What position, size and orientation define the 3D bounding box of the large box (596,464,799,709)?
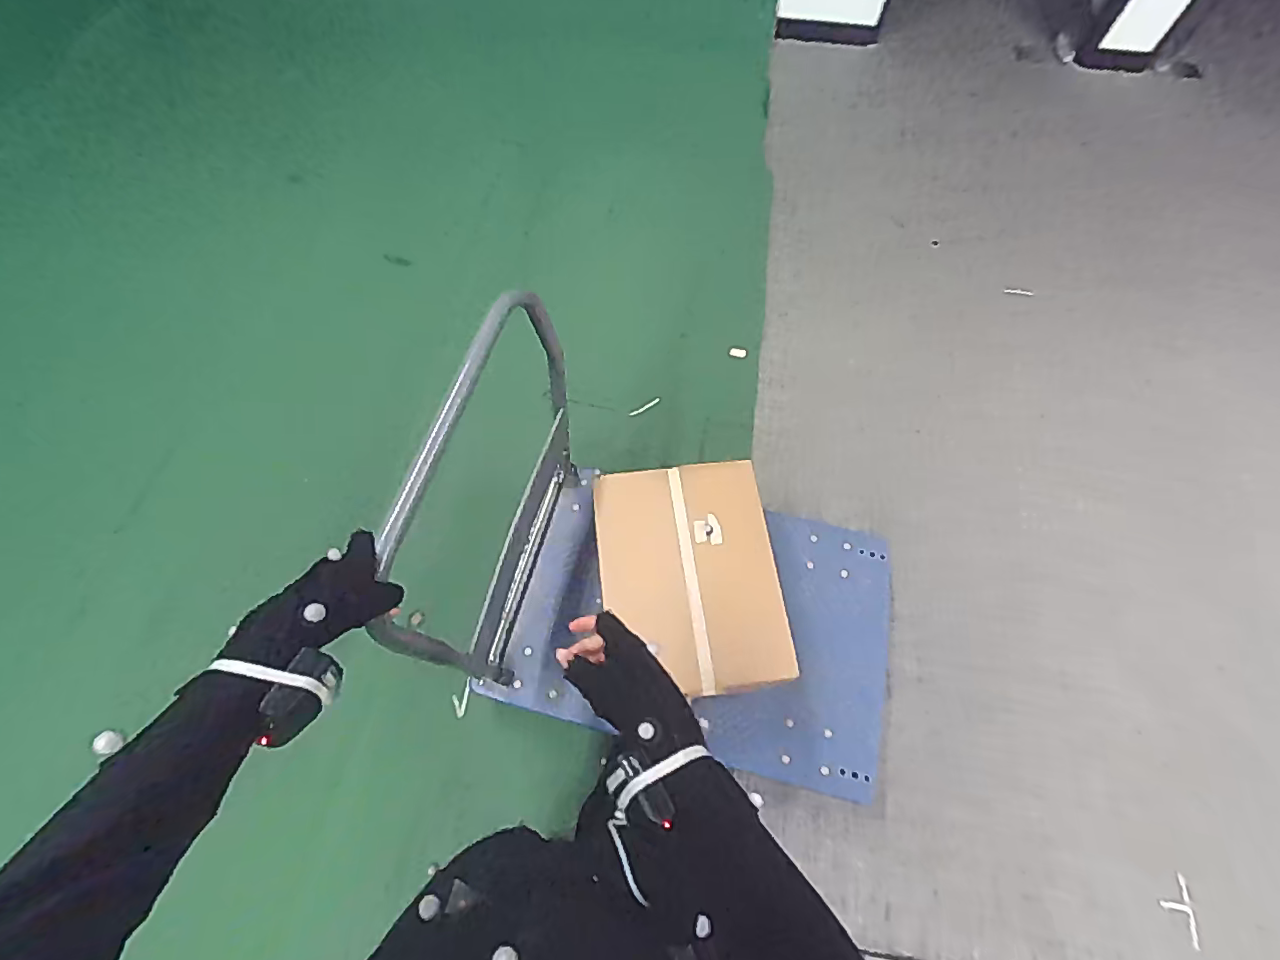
[{"bbox_3d":[0.090,0.225,1.097,0.320,0.320,0.408,-5,64,-3],"label":"large box"}]
